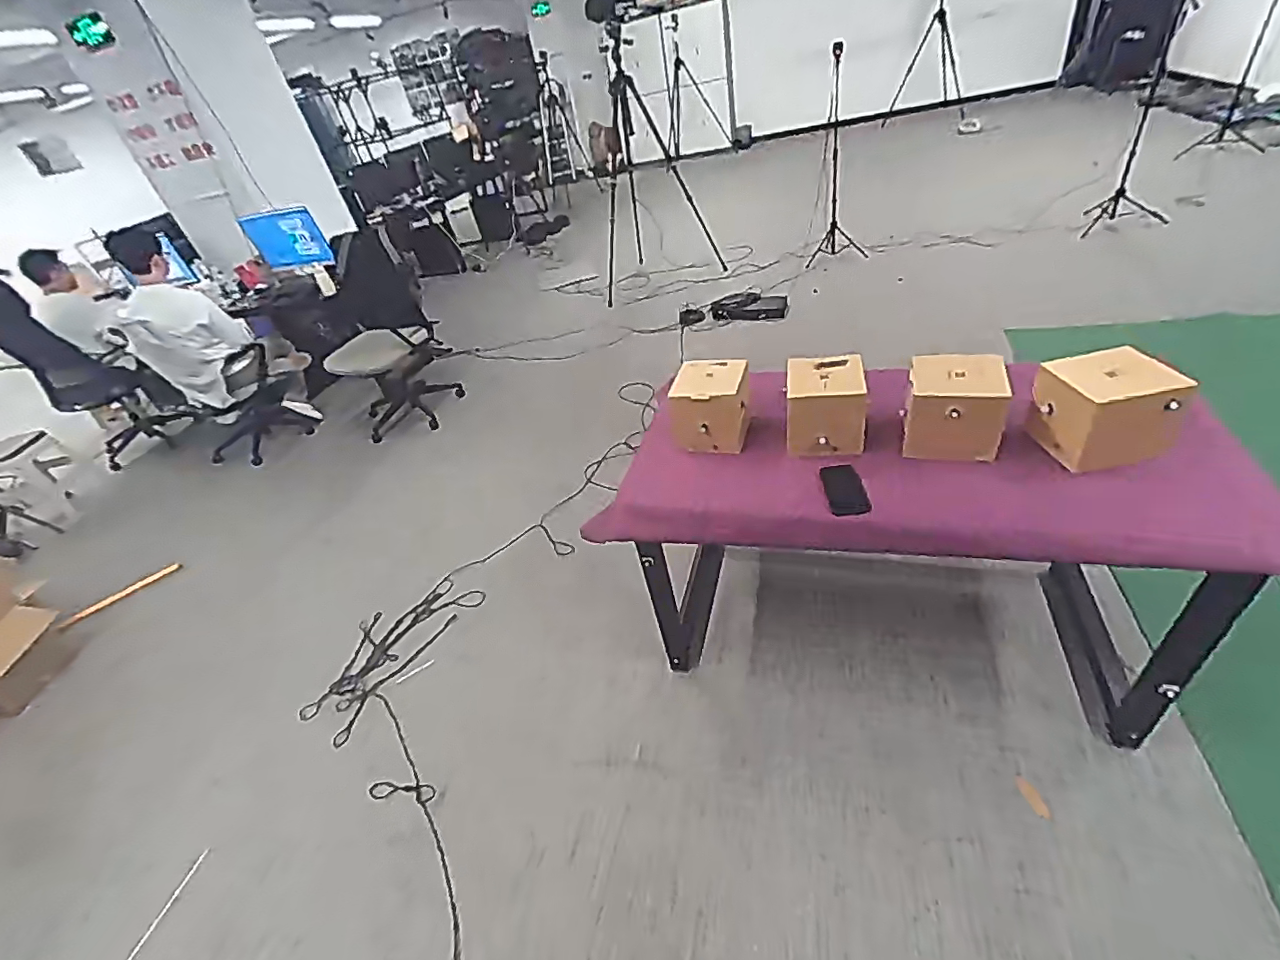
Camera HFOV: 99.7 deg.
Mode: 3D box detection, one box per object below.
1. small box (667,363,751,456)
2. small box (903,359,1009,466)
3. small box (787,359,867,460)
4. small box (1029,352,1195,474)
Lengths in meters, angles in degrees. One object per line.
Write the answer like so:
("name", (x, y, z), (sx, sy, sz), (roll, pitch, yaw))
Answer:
("small box", (0.182, -0.175, 1.362), (0.168, 0.176, 0.179), (4, 41, 21))
("small box", (0.673, -0.146, 1.169), (0.179, 0.176, 0.168), (5, 42, 23))
("small box", (0.433, -0.164, 1.267), (0.168, 0.176, 0.179), (0, 40, 18))
("small box", (0.912, -0.130, 1.071), (0.179, 0.176, 0.168), (-11, 37, 4))
